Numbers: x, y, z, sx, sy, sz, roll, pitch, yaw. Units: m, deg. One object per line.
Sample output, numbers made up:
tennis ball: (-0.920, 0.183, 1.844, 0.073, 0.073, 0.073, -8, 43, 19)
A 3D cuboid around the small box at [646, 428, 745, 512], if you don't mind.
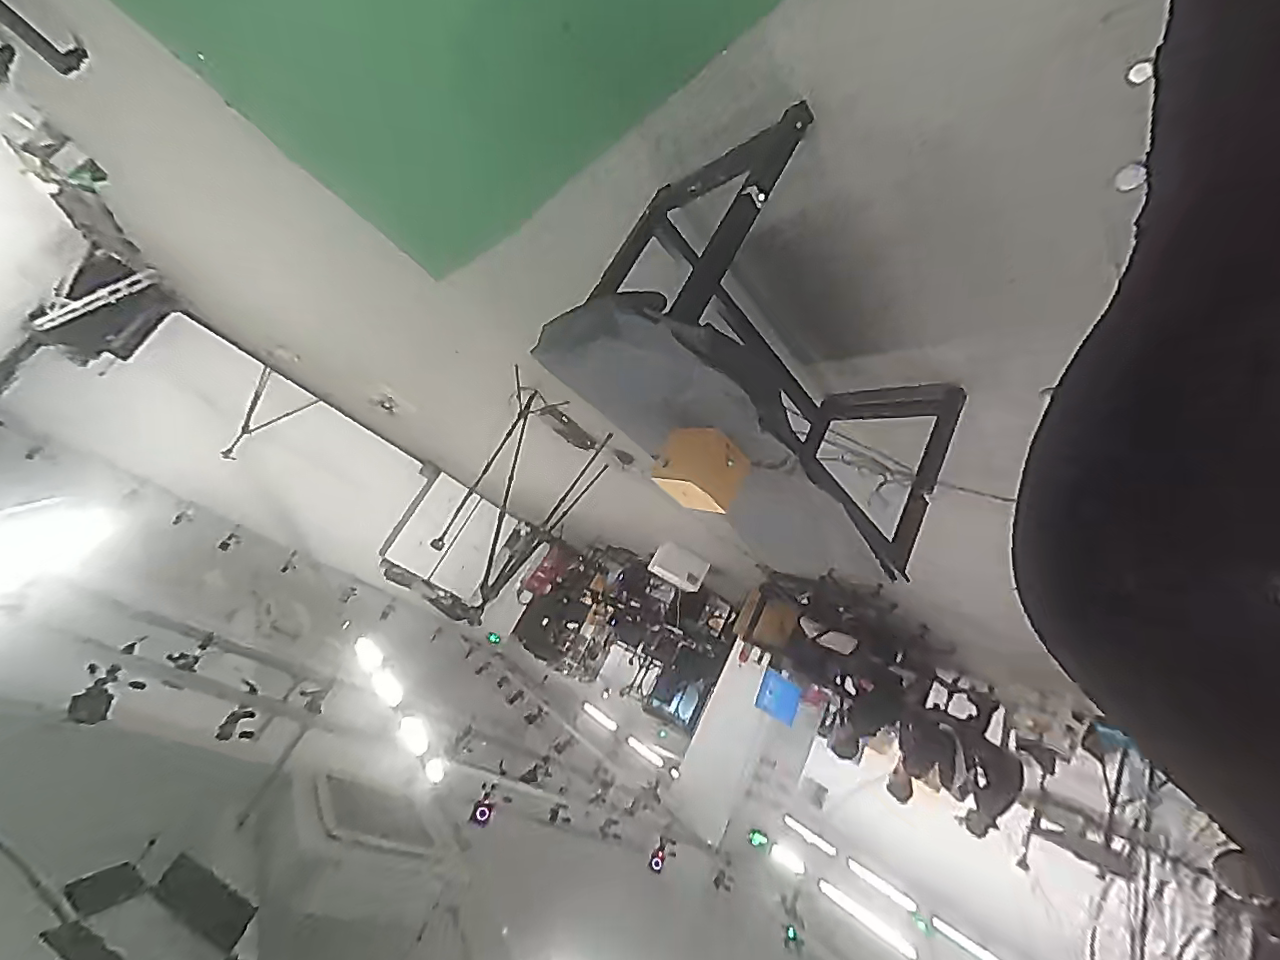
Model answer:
small box: (0.156, -0.031, 1.487, 0.168, 0.176, 0.179, 39, 160, -34)
